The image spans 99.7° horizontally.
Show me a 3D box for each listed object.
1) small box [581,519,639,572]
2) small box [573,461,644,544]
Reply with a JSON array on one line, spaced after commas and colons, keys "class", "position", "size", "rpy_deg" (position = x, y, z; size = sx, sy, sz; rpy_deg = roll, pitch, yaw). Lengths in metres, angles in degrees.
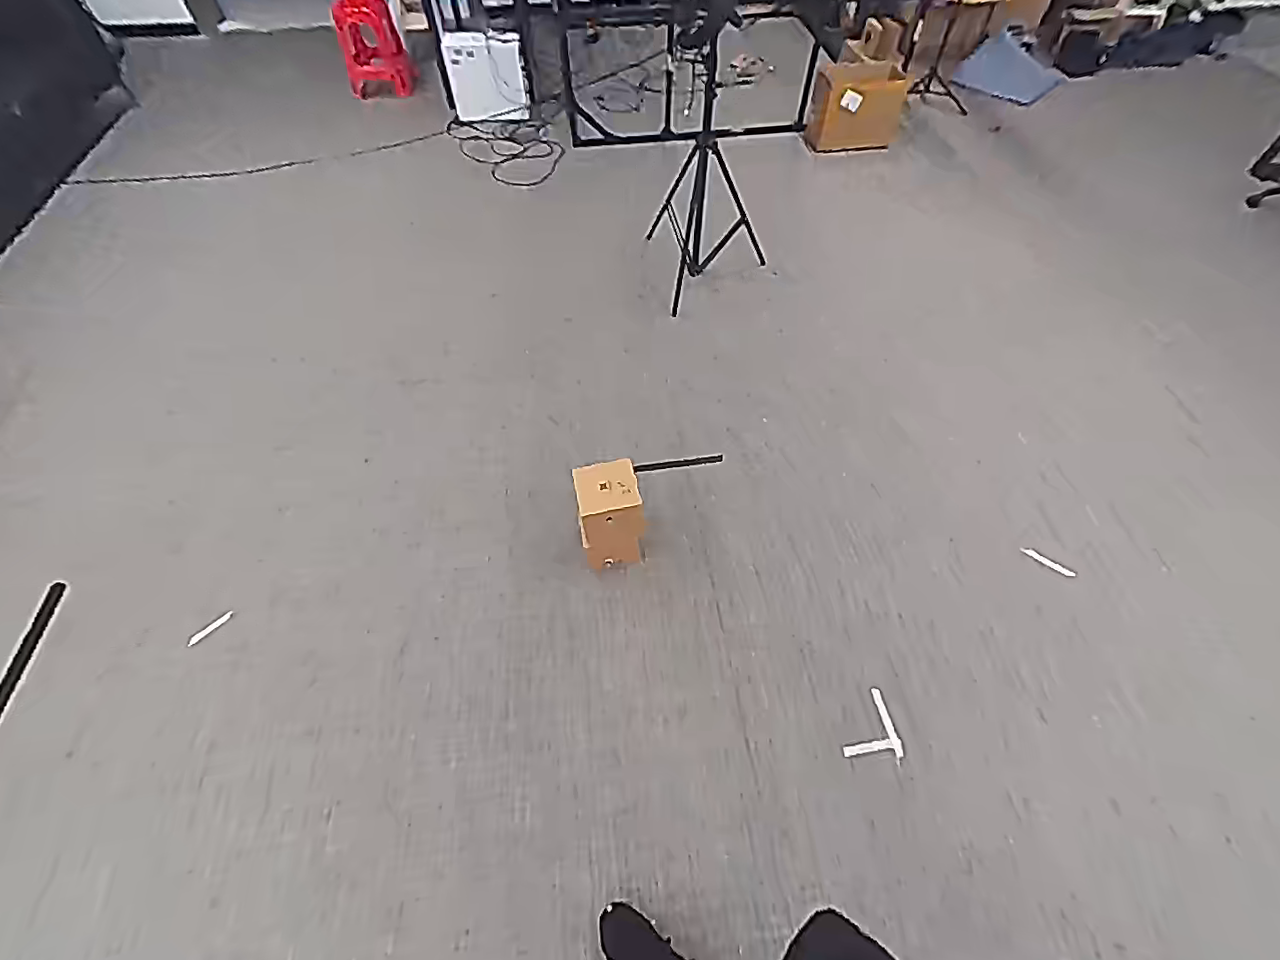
[{"class": "small box", "position": [-0.098, 0.167, 1.711], "size": [0.168, 0.176, 0.179], "rpy_deg": [-10, 56, -5]}, {"class": "small box", "position": [-0.089, 0.070, 1.578], "size": [0.179, 0.176, 0.168], "rpy_deg": [-11, 56, -6]}]
